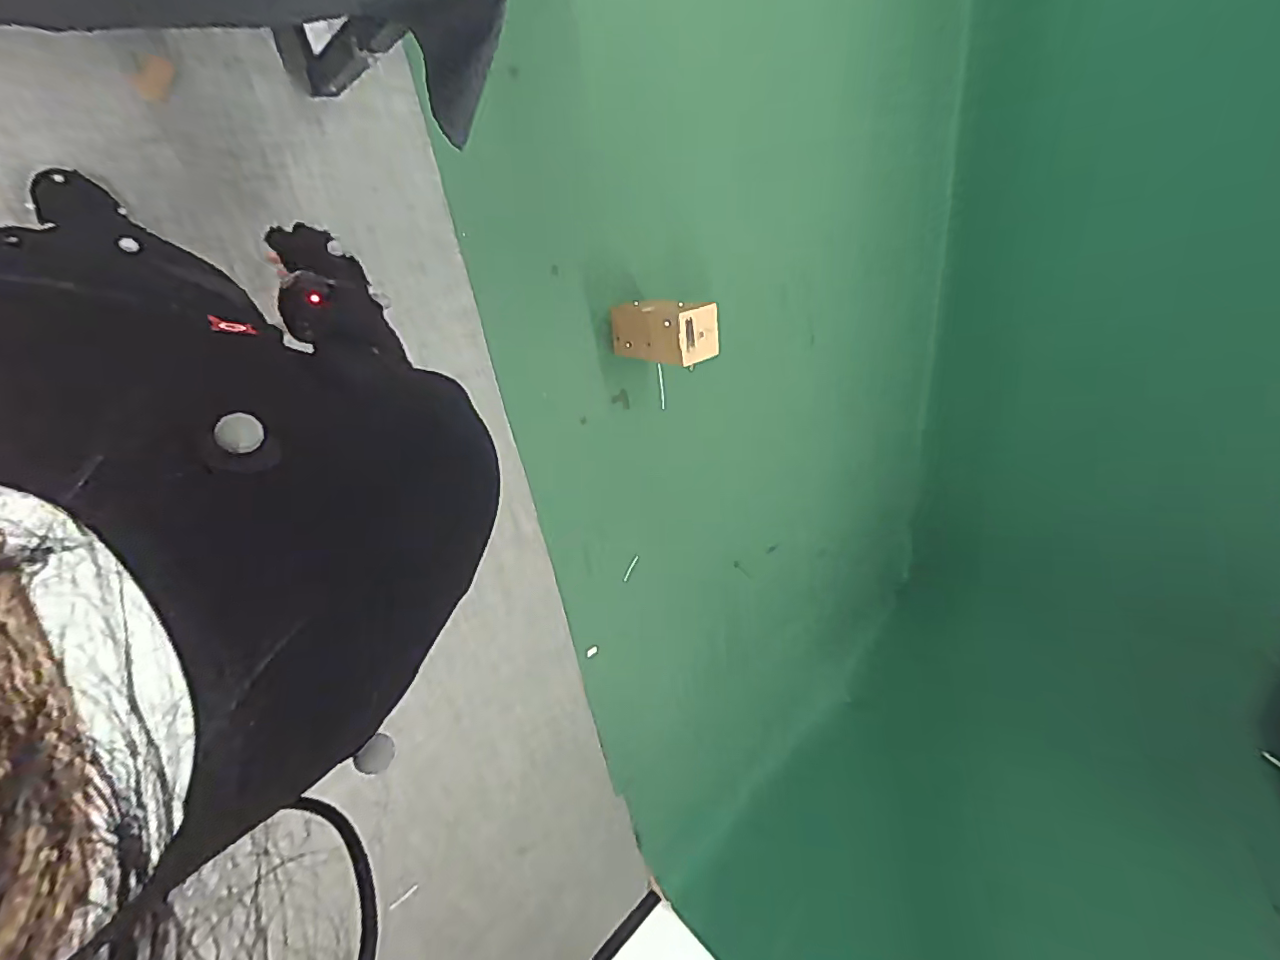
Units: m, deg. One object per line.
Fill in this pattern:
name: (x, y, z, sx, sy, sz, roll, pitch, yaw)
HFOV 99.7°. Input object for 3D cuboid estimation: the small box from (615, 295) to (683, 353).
small box: (0.027, -0.541, 1.860, 0.179, 0.176, 0.168, -25, 121, -35)
